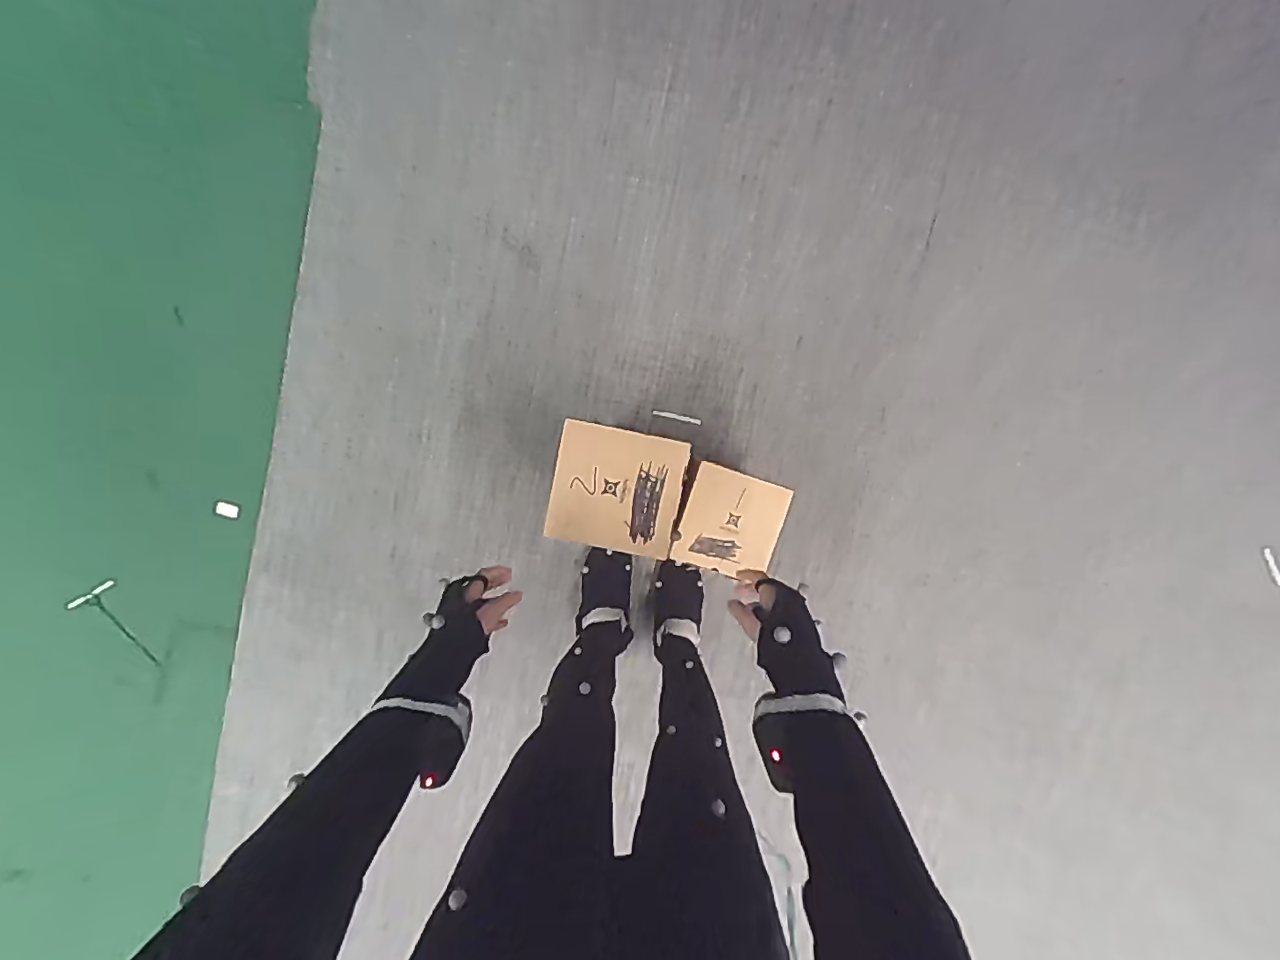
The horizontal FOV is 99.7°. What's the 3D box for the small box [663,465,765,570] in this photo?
[{"bbox_3d":[0.147,0.071,1.143,0.168,0.176,0.179,13,95,-1],"label":"small box"}]
